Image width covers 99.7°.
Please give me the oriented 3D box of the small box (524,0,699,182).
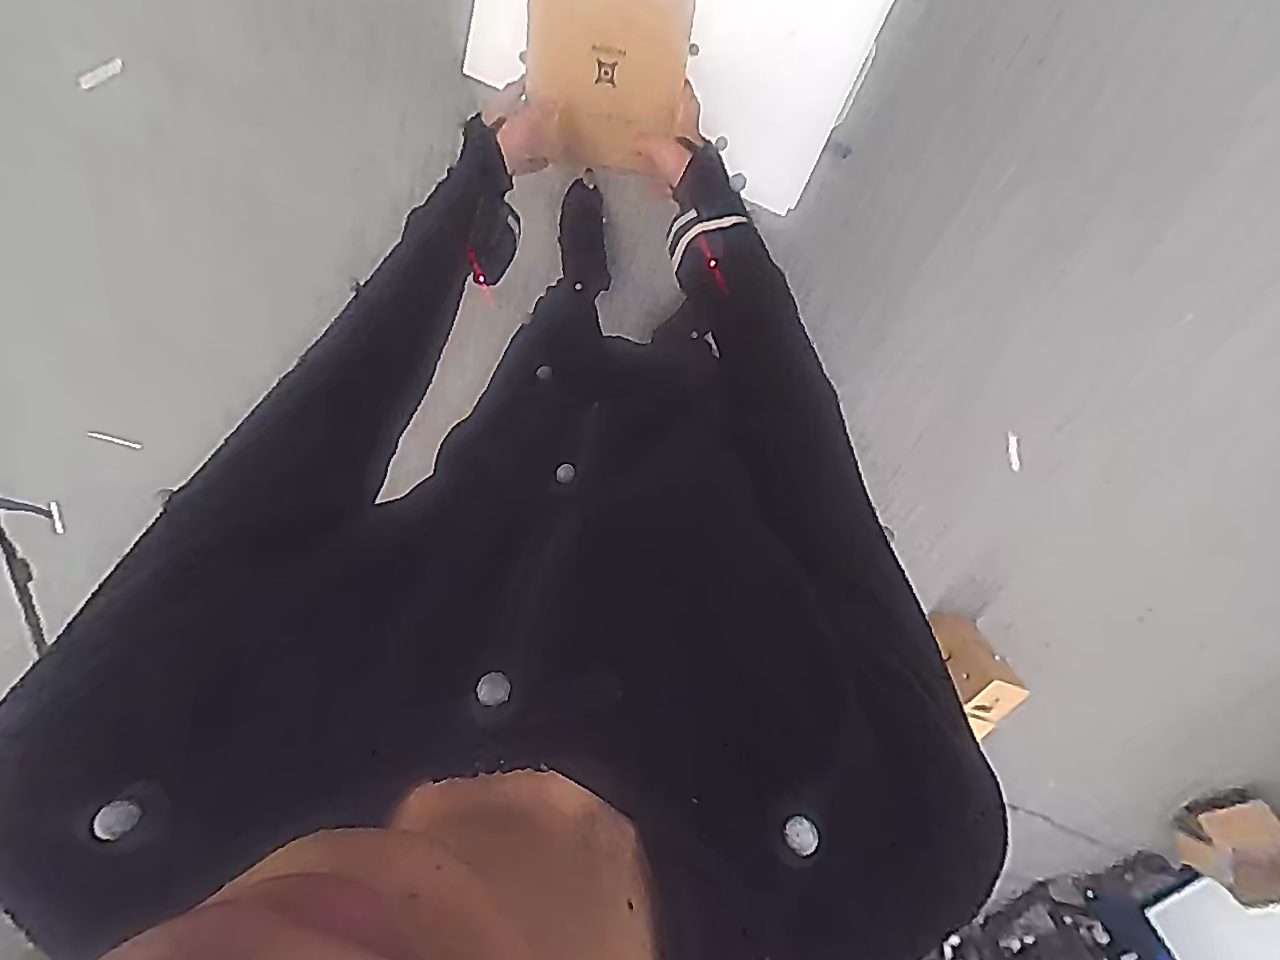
[{"bbox_3d":[-0.036,-0.457,0.623,0.168,0.176,0.179,7,117,-5],"label":"small box"}]
